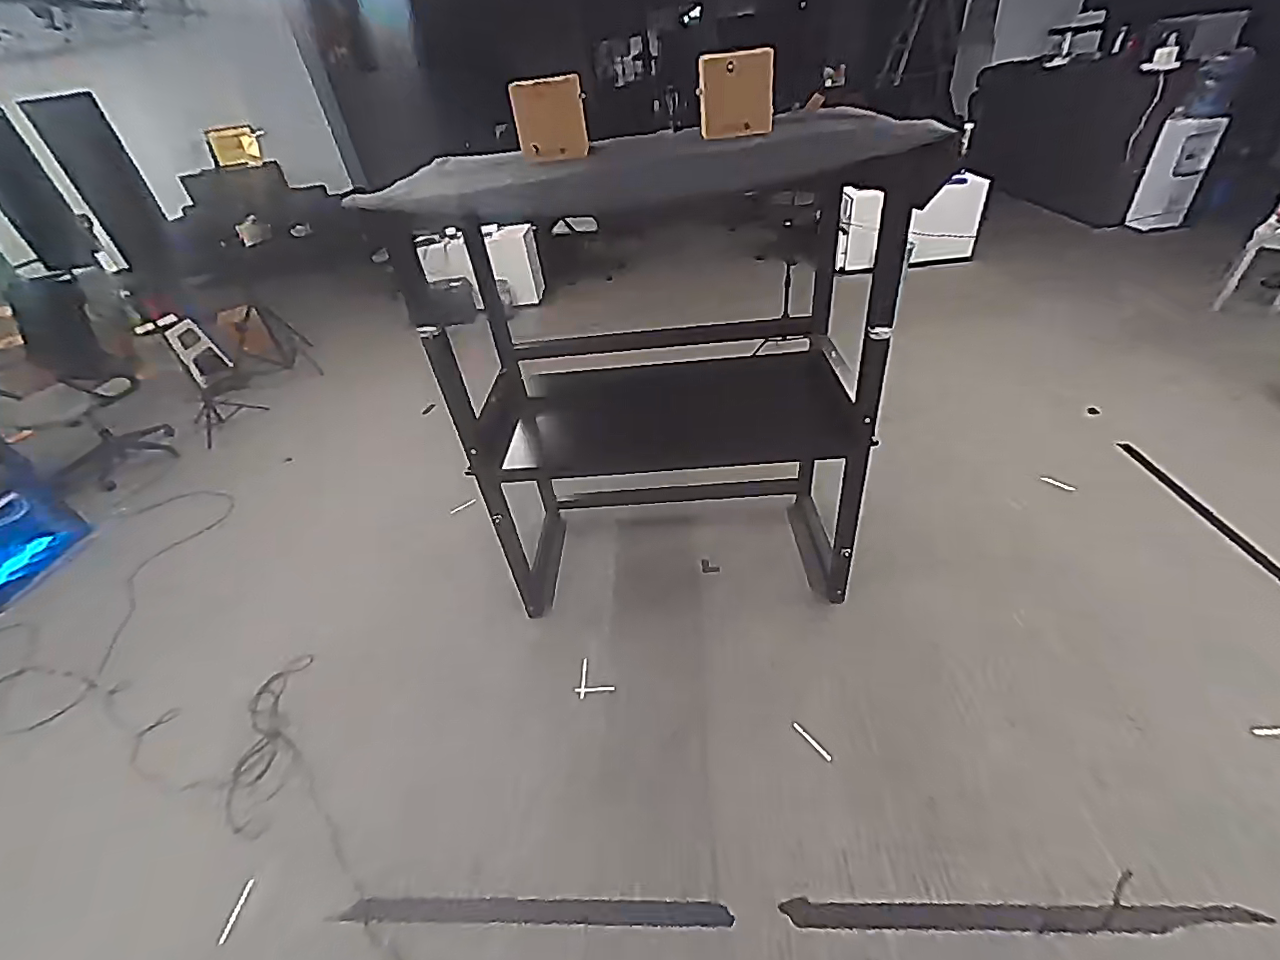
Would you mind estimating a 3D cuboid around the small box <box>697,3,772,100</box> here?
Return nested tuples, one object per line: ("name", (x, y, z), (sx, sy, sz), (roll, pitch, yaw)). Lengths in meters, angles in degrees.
("small box", (0.225, -1.043, 1.323), (0.168, 0.176, 0.179), (-4, 39, 5))

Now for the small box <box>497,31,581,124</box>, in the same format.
("small box", (-0.245, -1.006, 1.356), (0.168, 0.176, 0.179), (-6, 39, 1))
